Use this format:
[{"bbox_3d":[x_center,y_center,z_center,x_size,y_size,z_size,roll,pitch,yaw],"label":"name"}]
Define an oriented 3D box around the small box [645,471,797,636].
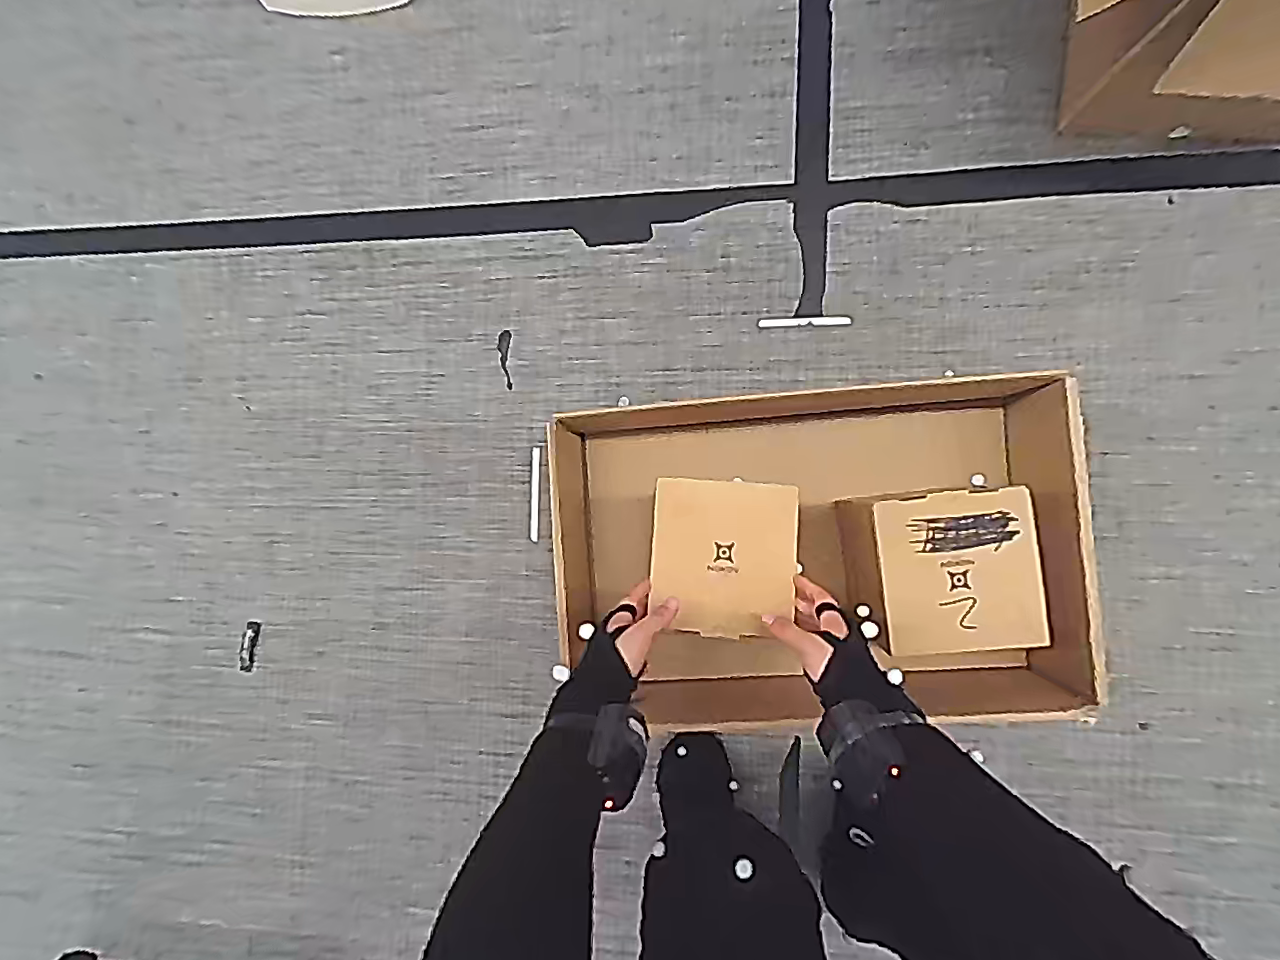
[{"bbox_3d":[0.093,0.093,0.682,0.168,0.176,0.179,3,82,1],"label":"small box"}]
